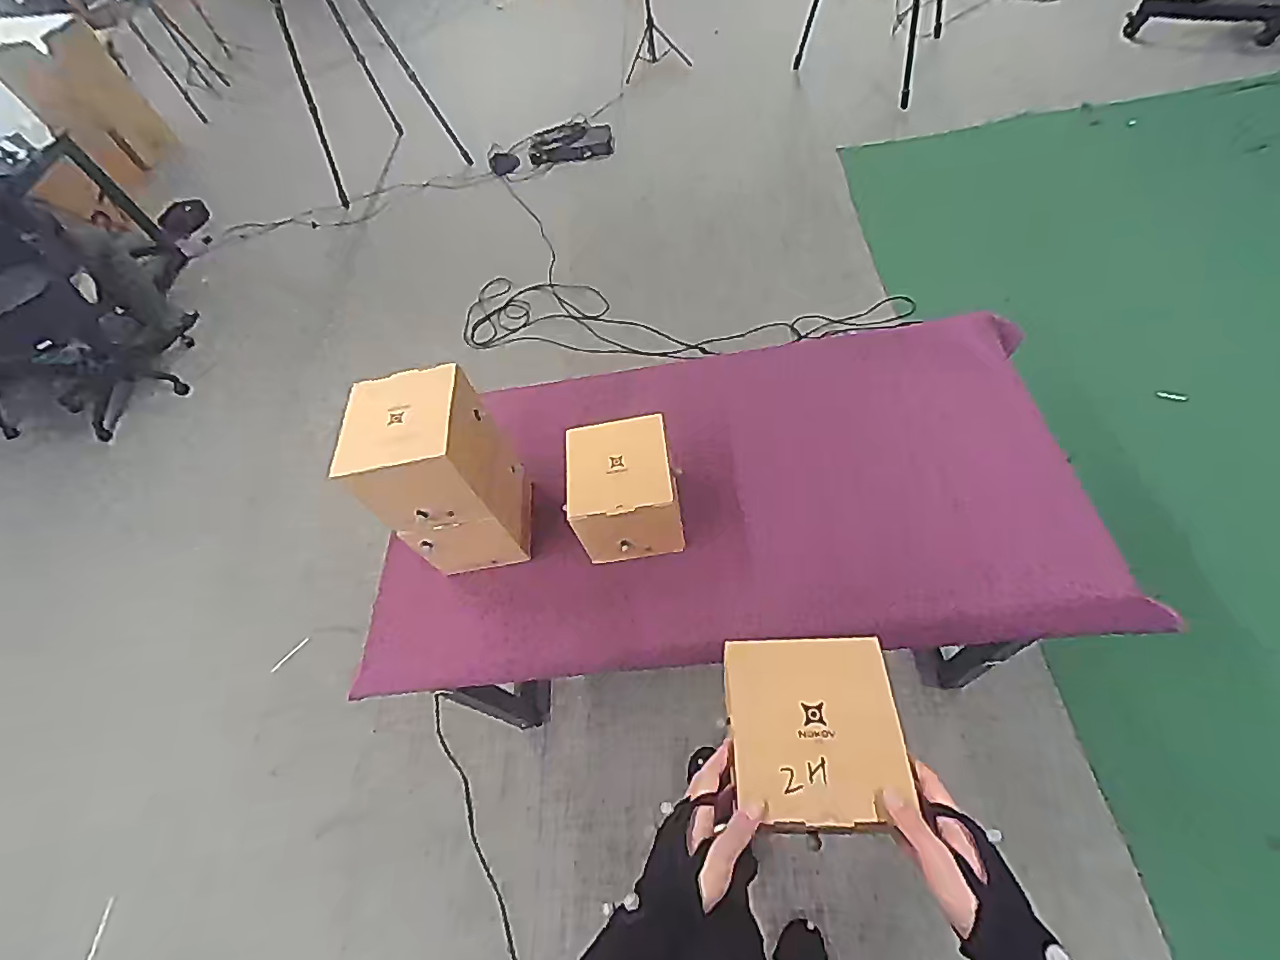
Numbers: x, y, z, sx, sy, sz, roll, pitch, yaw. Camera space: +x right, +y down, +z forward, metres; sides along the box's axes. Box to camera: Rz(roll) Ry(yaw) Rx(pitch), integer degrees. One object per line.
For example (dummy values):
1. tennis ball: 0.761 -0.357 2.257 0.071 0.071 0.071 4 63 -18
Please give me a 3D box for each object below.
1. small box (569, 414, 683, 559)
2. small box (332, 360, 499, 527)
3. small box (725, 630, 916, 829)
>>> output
1. small box: -0.021 0.016 0.923 0.168 0.176 0.179 -9 58 5
2. small box: -0.323 -0.051 0.823 0.168 0.176 0.179 -9 57 5
3. small box: 0.184 0.285 0.614 0.168 0.176 0.179 -3 55 7
